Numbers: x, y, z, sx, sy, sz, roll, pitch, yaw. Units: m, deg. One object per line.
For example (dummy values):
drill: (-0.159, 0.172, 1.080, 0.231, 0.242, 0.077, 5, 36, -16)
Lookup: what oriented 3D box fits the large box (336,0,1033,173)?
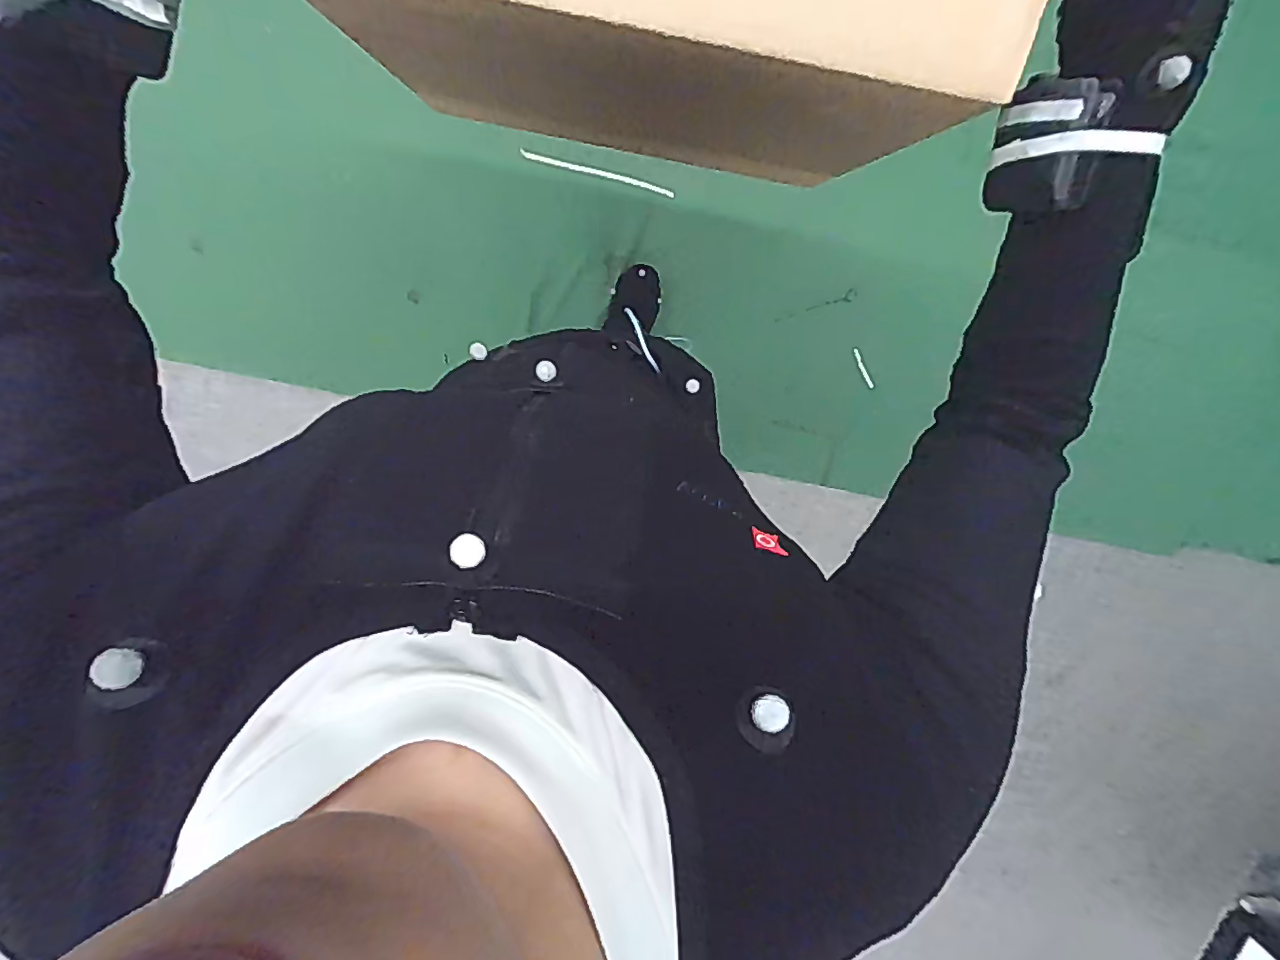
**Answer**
large box: (0.024, -0.437, 0.373, 0.408, 0.320, 0.320, 7, 112, -5)
